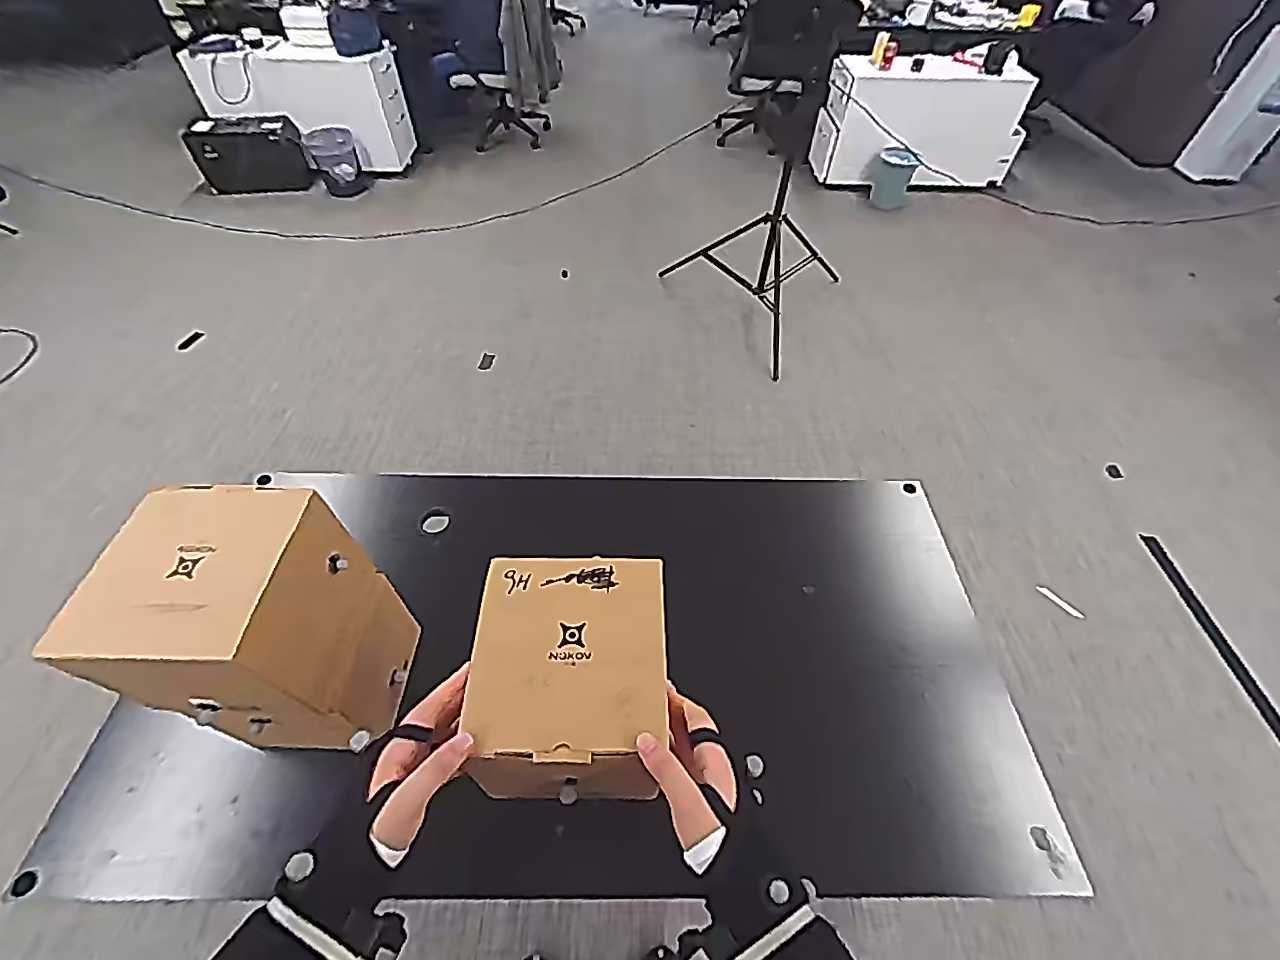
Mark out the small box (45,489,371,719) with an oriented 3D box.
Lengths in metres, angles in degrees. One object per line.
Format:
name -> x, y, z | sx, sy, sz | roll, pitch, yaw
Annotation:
small box -> -0.403, 0.128, 0.552 | 0.168, 0.176, 0.179 | 0, 52, 0

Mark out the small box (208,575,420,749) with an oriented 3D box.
small box -> -0.404, 0.229, 0.679 | 0.179, 0.176, 0.168 | 2, 51, -1

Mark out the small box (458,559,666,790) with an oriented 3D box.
small box -> -0.061, 0.195, 0.530 | 0.168, 0.176, 0.179 | 0, 51, -2
